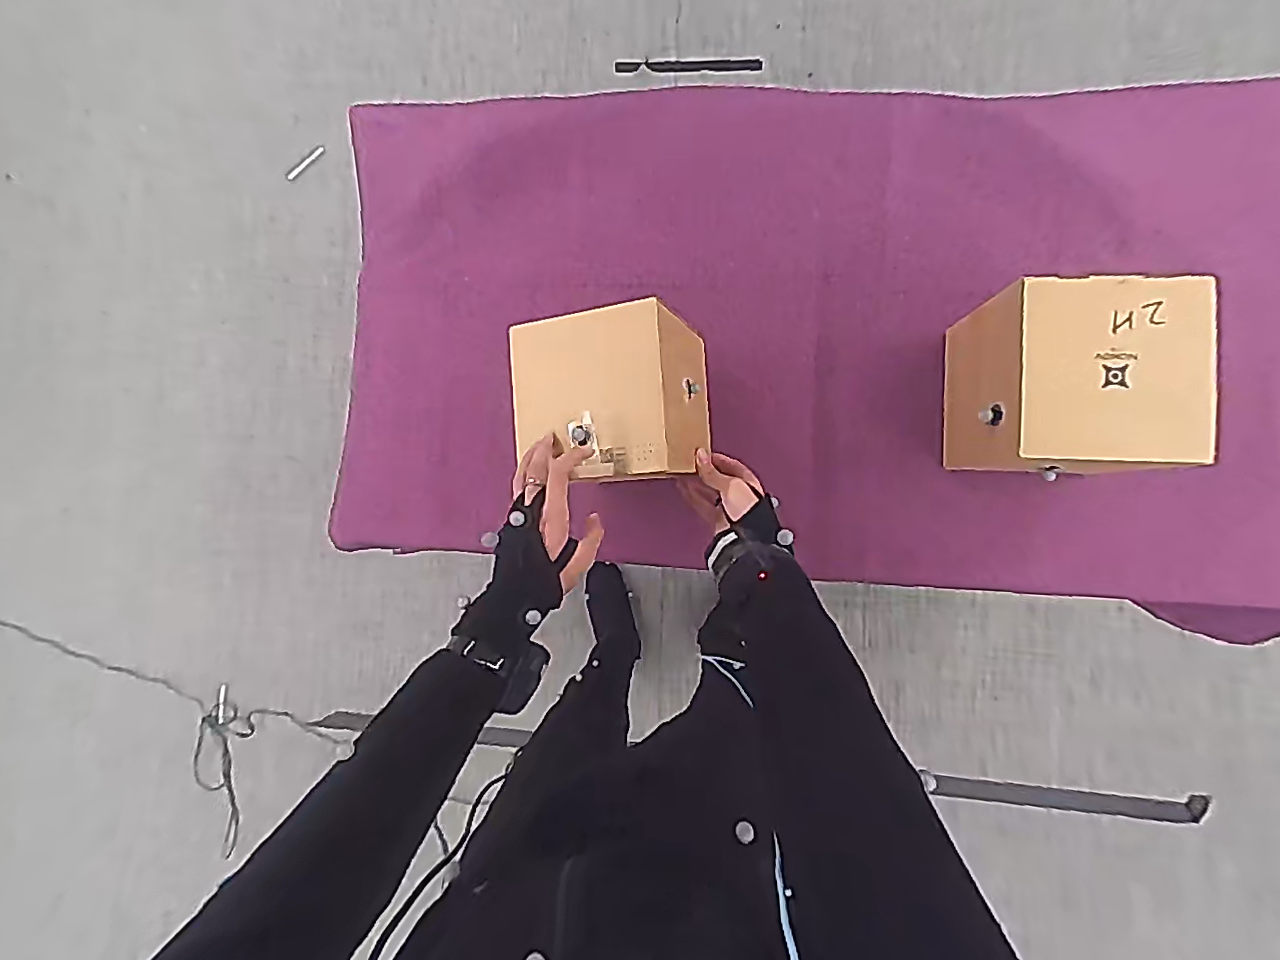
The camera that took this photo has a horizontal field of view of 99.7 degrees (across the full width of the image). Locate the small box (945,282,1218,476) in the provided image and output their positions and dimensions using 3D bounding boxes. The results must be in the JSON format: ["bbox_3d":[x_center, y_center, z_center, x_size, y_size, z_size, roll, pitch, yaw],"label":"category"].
[{"bbox_3d":[0.452,-0.096,0.583,0.168,0.176,0.179,3,88,7],"label":"small box"}]
